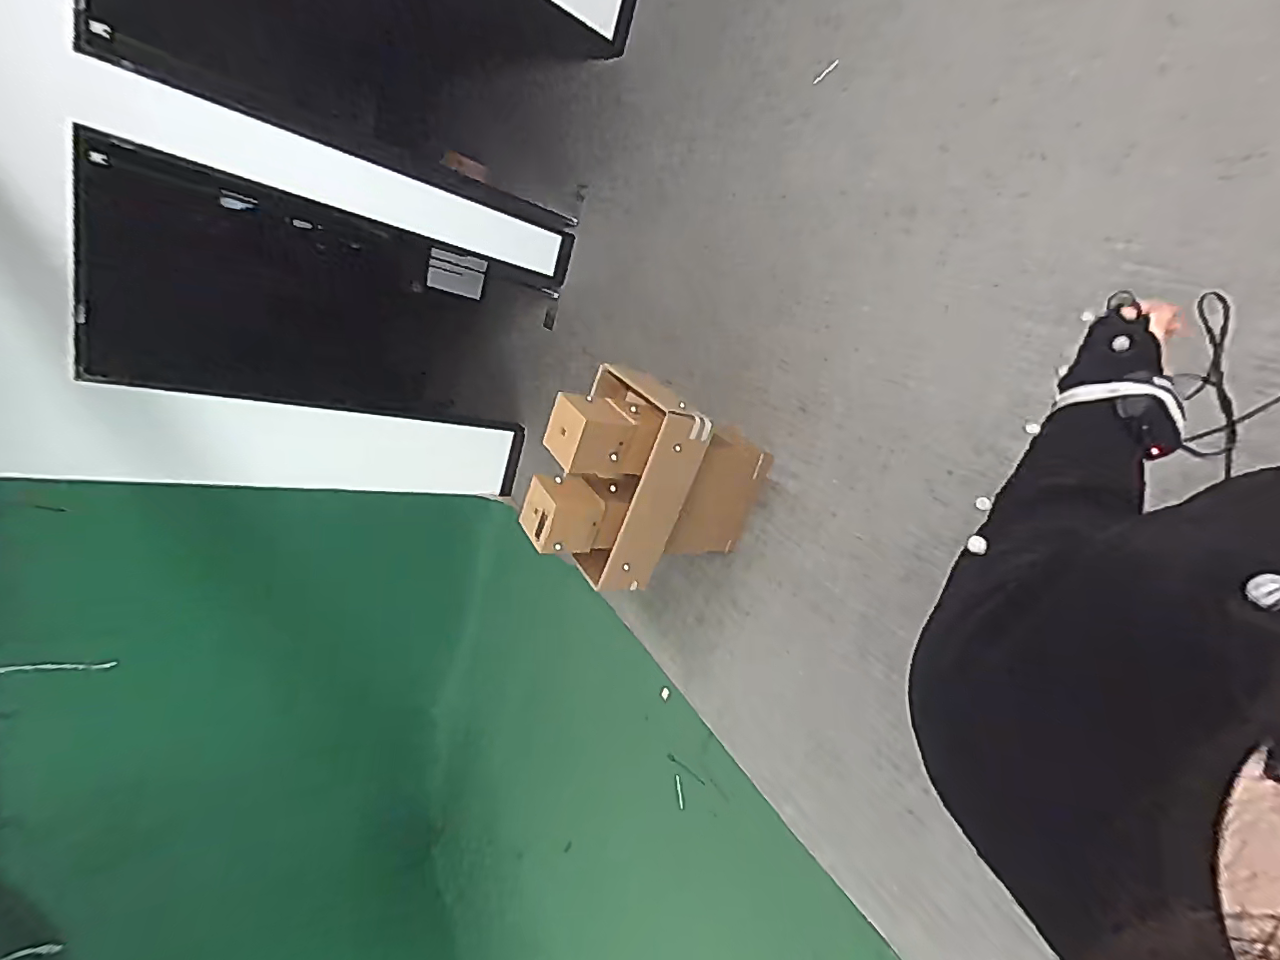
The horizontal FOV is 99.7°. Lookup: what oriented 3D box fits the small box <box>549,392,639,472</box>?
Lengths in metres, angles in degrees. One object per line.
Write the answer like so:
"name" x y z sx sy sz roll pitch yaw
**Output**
"small box" -0.132 -0.132 1.550 0.179 0.176 0.168 46 123 43
